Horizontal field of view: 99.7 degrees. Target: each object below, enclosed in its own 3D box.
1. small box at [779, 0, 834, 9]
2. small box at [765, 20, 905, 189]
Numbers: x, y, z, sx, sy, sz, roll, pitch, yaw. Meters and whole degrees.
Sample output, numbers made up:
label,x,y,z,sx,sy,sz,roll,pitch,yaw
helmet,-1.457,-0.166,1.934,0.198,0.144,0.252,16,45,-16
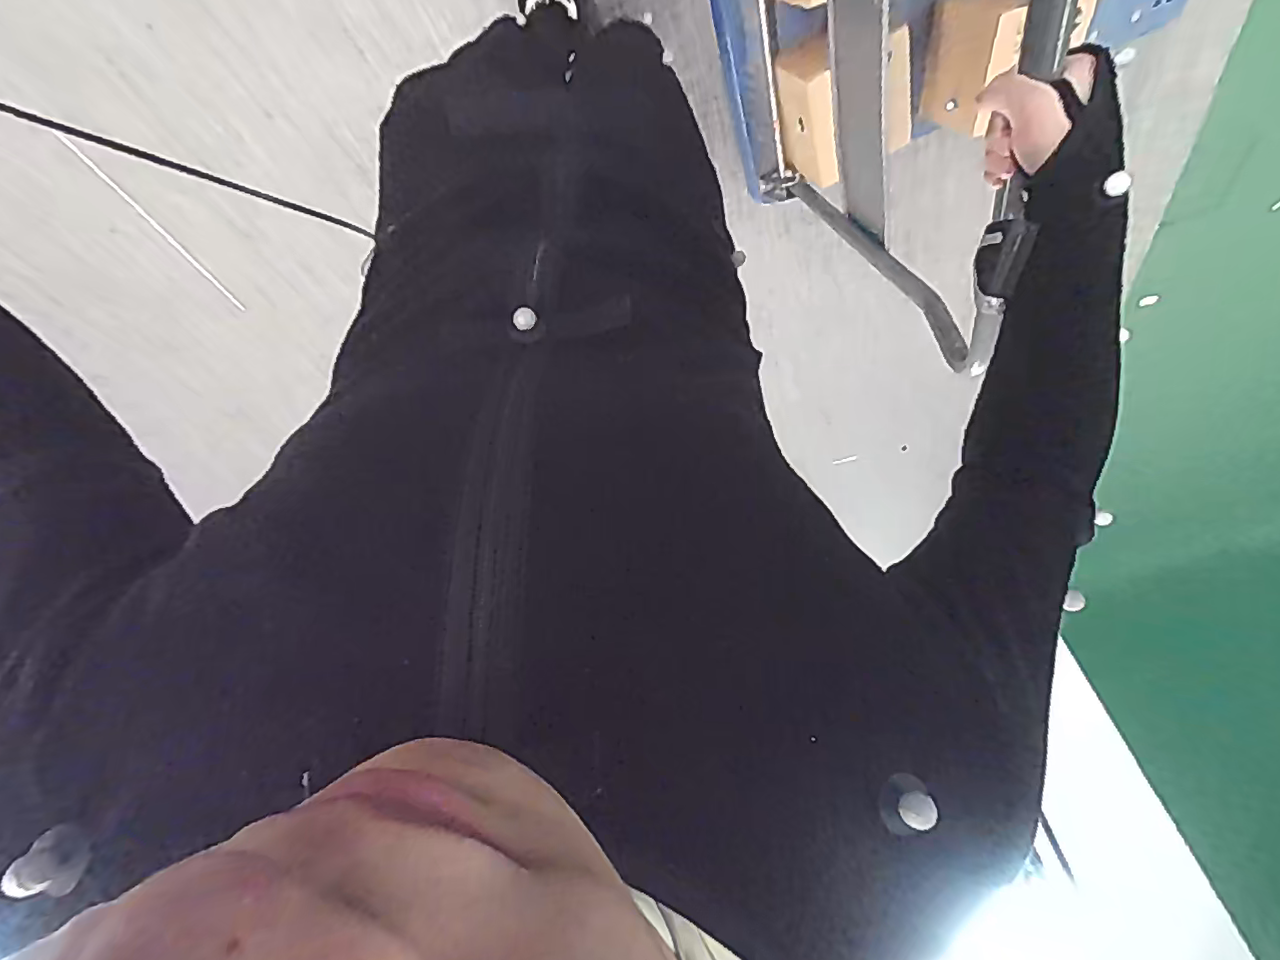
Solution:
label,x,y,z,sx,sy,sz,roll,pitch,yaw
small box,0.275,-0.796,0.752,0.179,0.176,0.168,-18,139,1
small box,0.330,-0.647,0.926,0.168,0.176,0.179,-24,139,8
